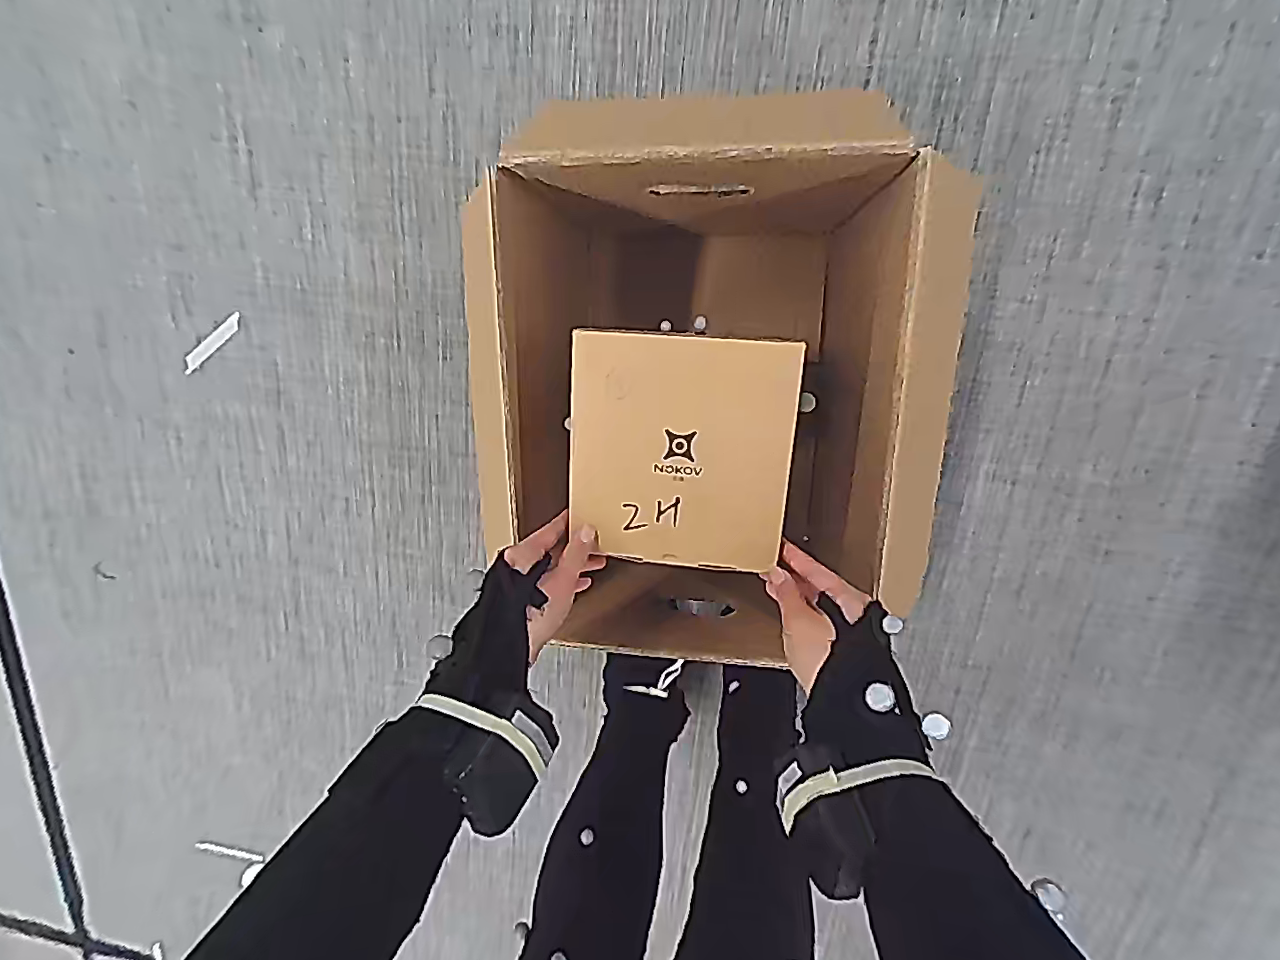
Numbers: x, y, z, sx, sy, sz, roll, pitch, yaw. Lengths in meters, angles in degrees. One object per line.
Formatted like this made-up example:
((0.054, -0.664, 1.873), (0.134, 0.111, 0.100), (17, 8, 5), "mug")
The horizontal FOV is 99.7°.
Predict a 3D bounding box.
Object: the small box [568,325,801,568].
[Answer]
((0.038, -0.042, 0.483), (0.168, 0.176, 0.179), (5, 106, 8), "small box")
